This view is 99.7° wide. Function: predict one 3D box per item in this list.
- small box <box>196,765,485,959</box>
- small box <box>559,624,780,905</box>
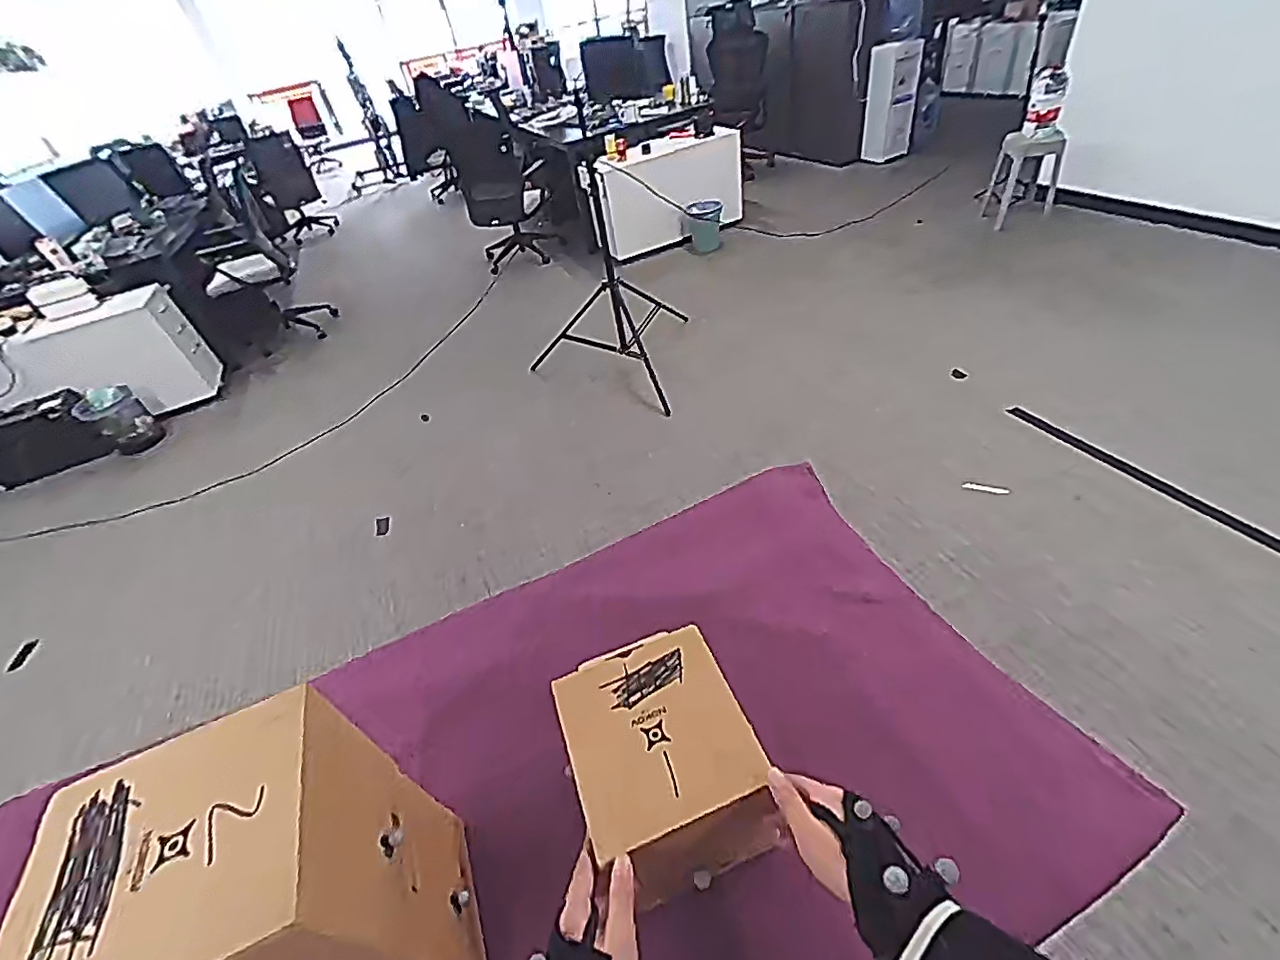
[{"bbox_3d":[-0.267,0.414,0.504,0.179,0.176,0.168,-23,42,-13],"label":"small box"},{"bbox_3d":[0.028,0.291,0.562,0.168,0.176,0.179,-20,40,-9],"label":"small box"}]
